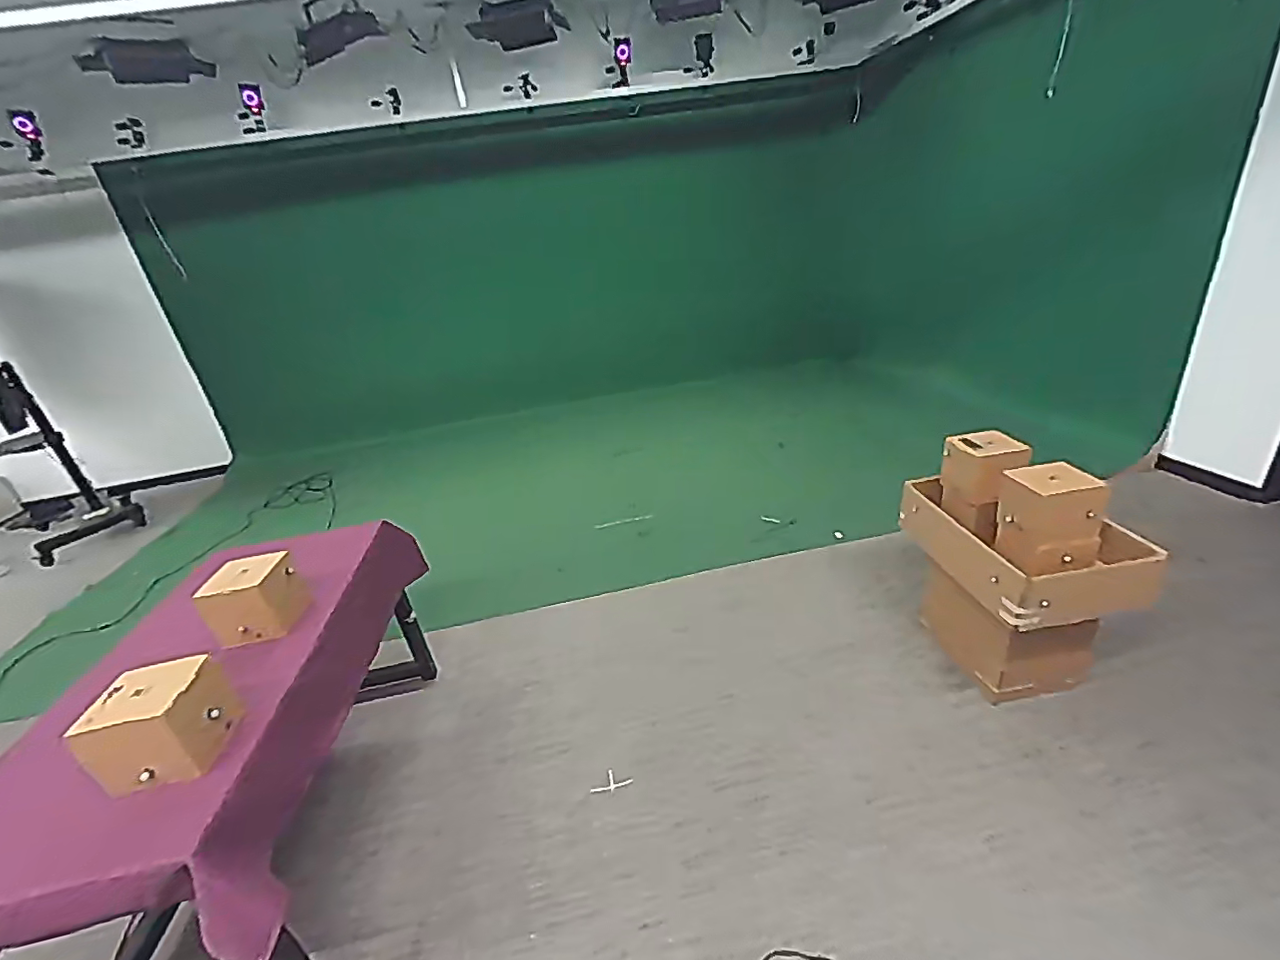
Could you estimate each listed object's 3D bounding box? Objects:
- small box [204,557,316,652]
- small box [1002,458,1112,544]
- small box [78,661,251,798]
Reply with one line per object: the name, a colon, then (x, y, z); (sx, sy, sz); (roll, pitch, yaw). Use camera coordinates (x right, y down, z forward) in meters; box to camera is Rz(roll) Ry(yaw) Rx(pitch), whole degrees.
small box: (-1.024, 0.340, 1.479); (0.168, 0.176, 0.179); (-12, 25, -2)
small box: (1.146, 0.059, 1.504); (0.179, 0.176, 0.168); (-10, 24, 2)
small box: (-0.944, 0.504, 1.098); (0.179, 0.176, 0.168); (-11, 24, -4)
